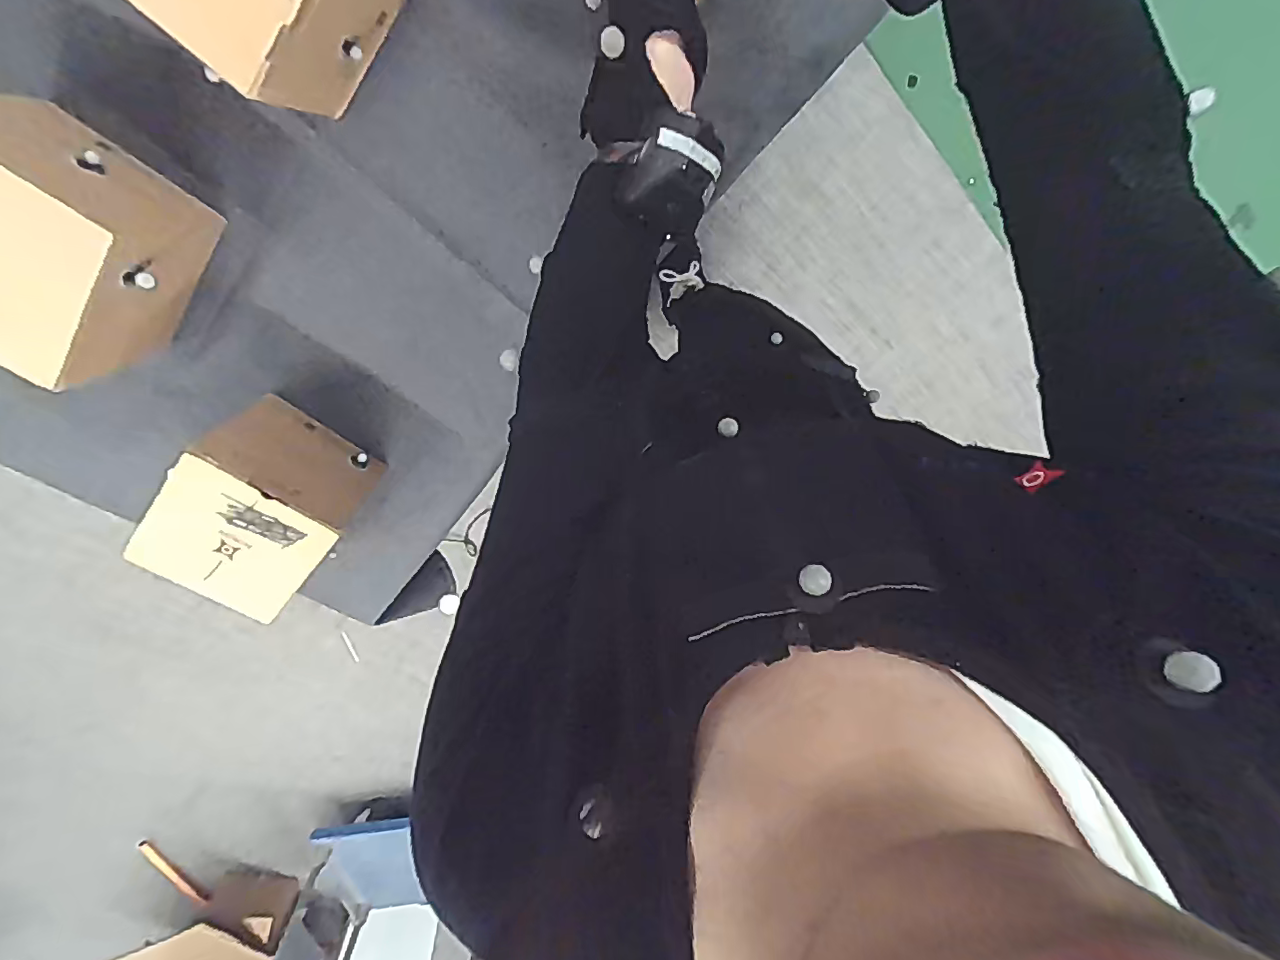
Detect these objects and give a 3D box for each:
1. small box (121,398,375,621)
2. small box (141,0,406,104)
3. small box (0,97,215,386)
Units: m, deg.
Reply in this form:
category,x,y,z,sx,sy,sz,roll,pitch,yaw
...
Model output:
category,x,y,z,sx,sy,sz,roll,pitch,yaw
small box,-0.455,0.029,0.661,0.168,0.176,0.179,38,110,-23
small box,-0.309,-0.433,0.420,0.179,0.176,0.168,36,109,-24
small box,-0.550,-0.226,0.505,0.168,0.176,0.179,35,111,-23
